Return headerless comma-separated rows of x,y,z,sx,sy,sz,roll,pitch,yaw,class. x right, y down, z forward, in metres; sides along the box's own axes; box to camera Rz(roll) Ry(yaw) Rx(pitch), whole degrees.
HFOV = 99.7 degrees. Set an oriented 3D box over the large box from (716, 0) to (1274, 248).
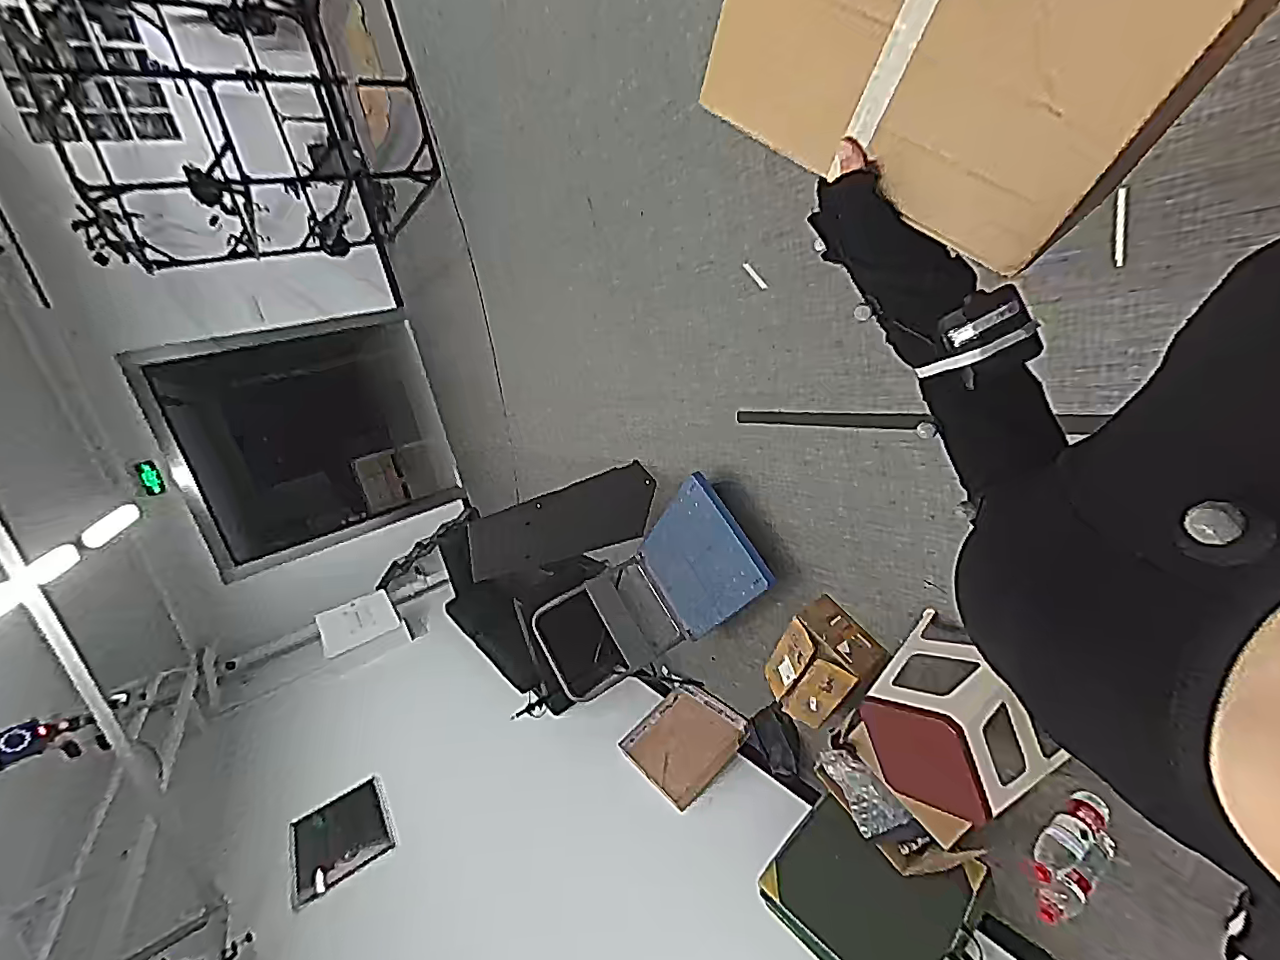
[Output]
0.312,-0.448,0.373,0.320,0.320,0.408,43,144,20,large box
